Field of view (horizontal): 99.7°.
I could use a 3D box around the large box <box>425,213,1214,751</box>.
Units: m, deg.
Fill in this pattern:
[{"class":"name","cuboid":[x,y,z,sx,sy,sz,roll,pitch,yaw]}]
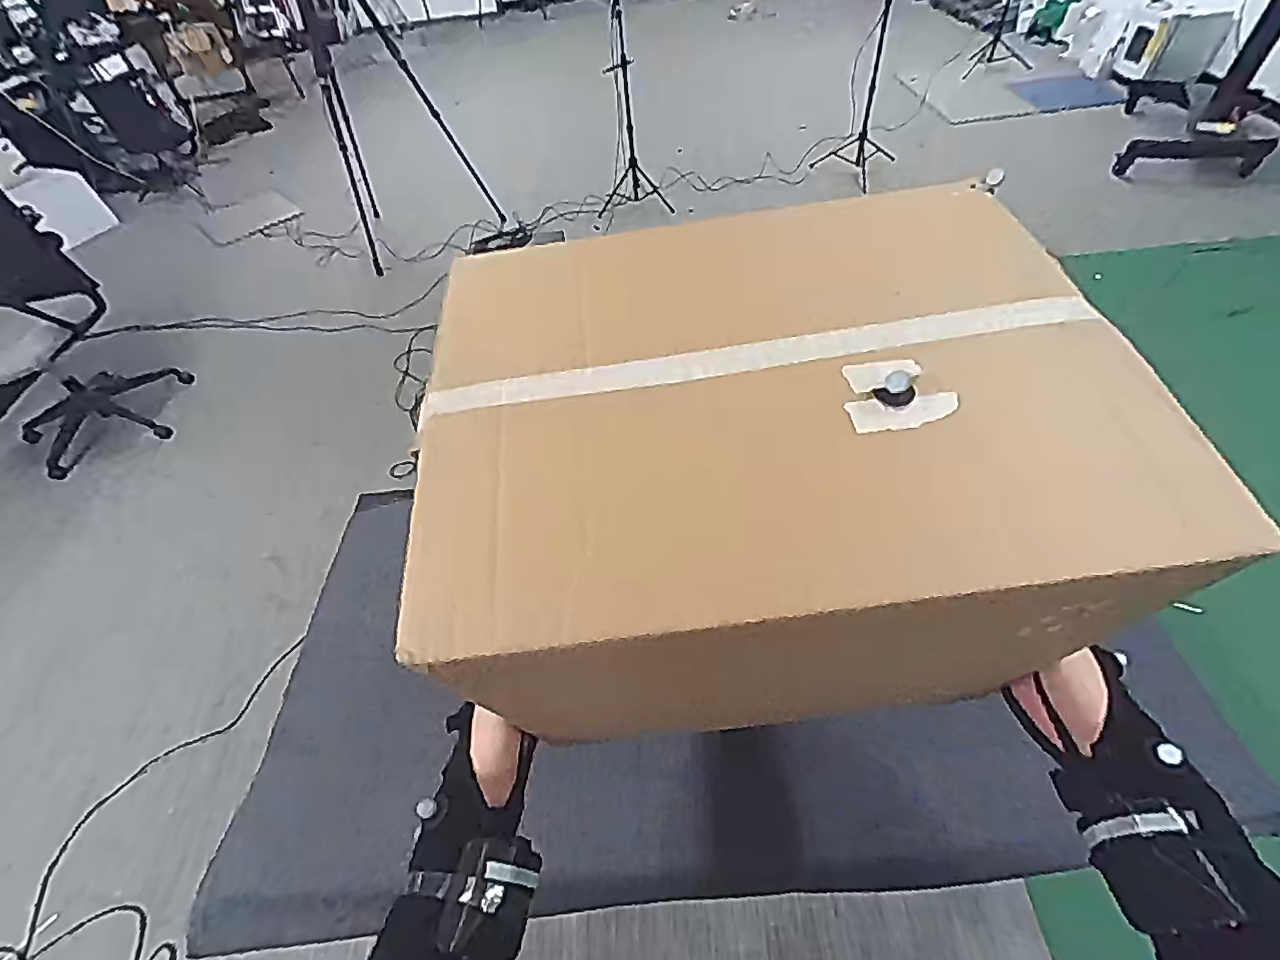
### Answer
[{"class":"large box","cuboid":[0.083,0.023,0.471,0.408,0.320,0.320,-8,57,1]}]
